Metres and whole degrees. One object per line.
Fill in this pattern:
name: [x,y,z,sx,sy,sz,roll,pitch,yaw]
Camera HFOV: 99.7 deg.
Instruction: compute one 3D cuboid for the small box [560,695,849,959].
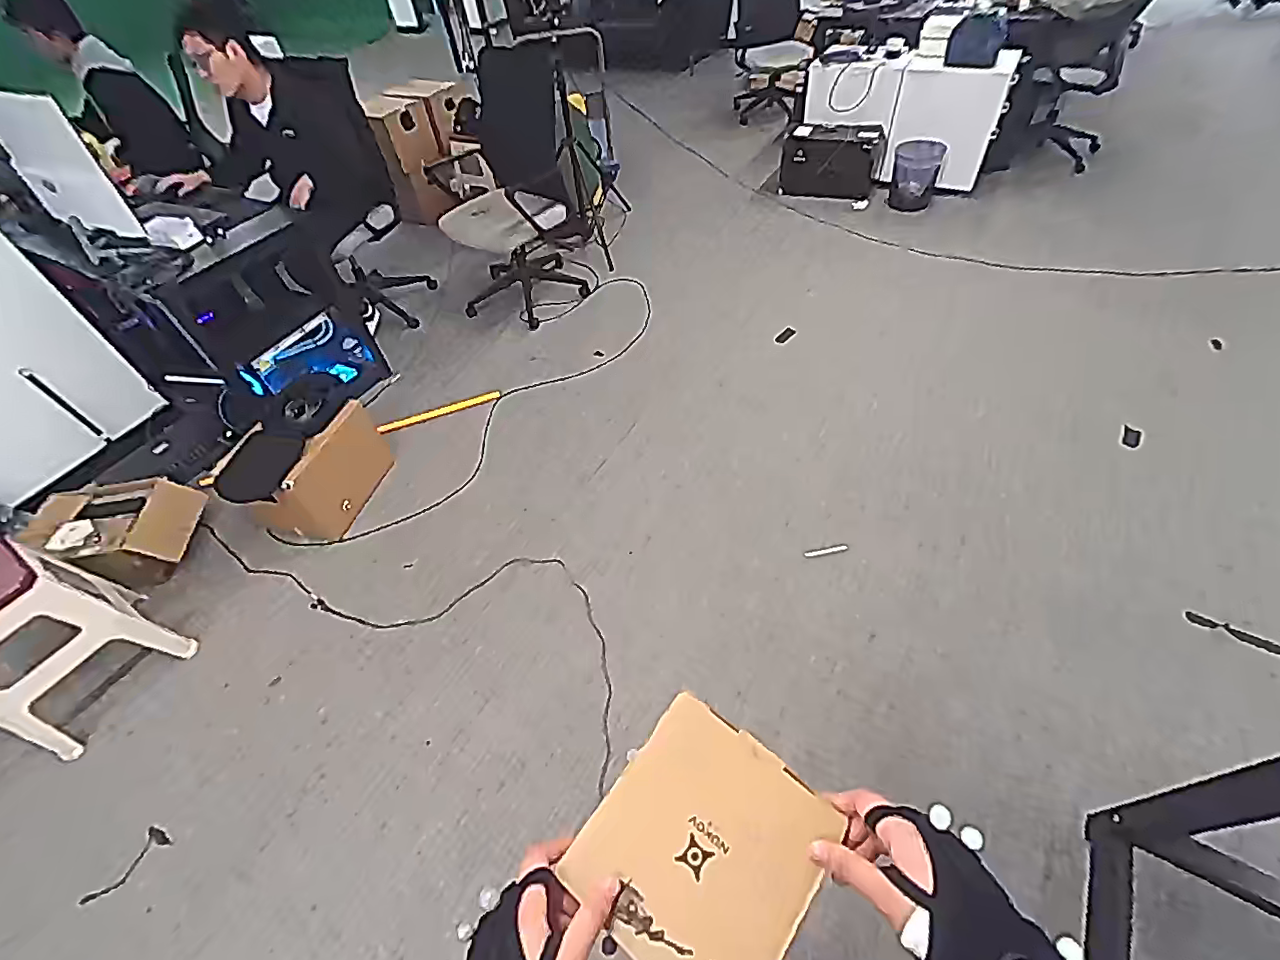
small box: [0.055,0.331,0.489,0.168,0.176,0.179,32,66,22]
